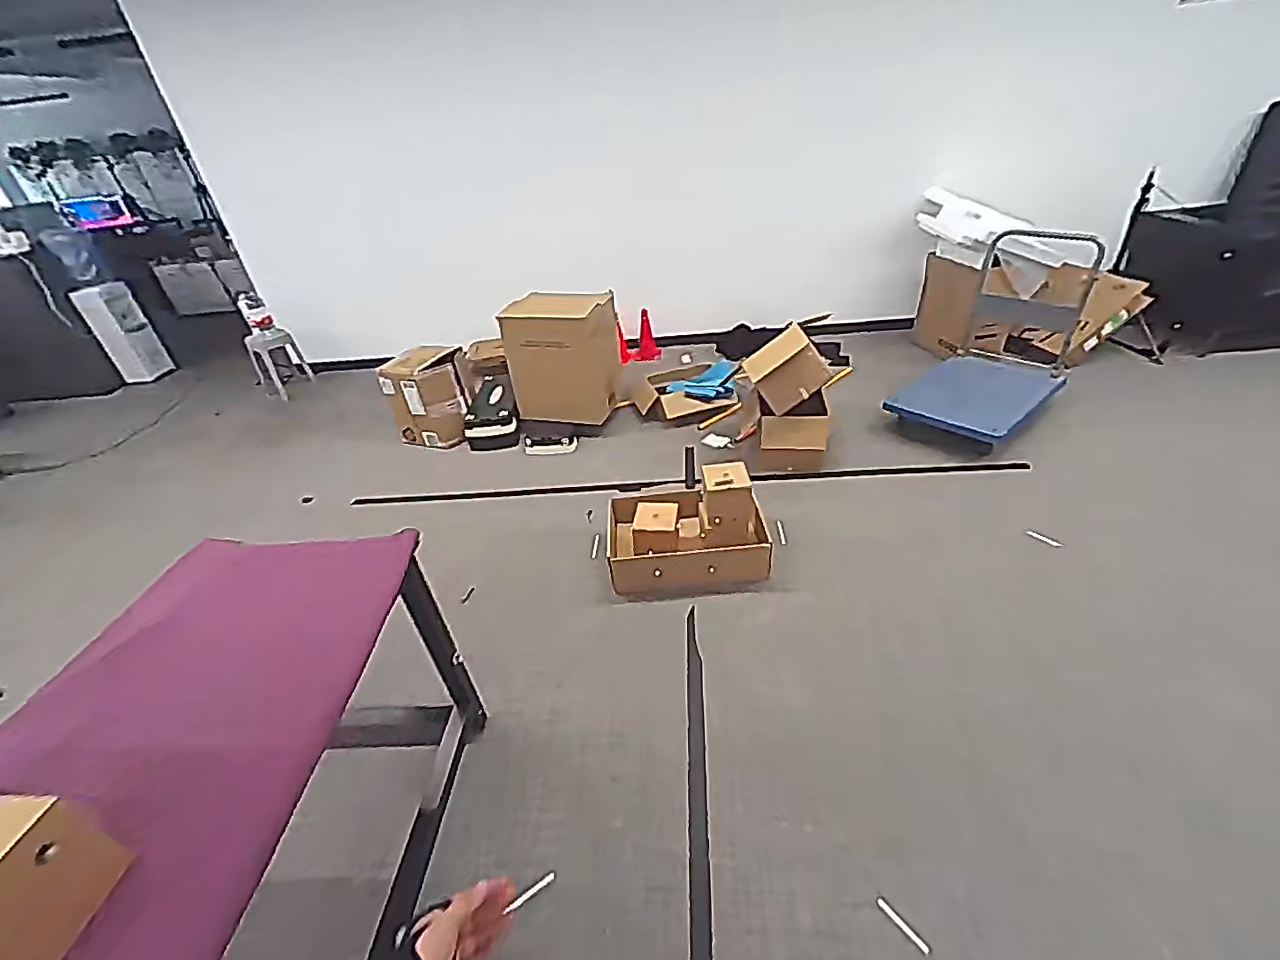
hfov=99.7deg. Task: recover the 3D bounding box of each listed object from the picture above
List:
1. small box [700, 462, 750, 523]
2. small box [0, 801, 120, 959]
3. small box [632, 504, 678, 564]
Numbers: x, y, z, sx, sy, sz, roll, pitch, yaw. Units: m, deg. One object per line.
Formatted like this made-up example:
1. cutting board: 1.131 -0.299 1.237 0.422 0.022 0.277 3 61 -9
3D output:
1. small box: 0.328 0.054 2.078 0.168 0.176 0.179 -6 32 2
2. small box: -0.803 0.522 0.657 0.168 0.176 0.179 -4 34 6
3. small box: 0.066 0.215 2.184 0.168 0.176 0.179 1 34 9
